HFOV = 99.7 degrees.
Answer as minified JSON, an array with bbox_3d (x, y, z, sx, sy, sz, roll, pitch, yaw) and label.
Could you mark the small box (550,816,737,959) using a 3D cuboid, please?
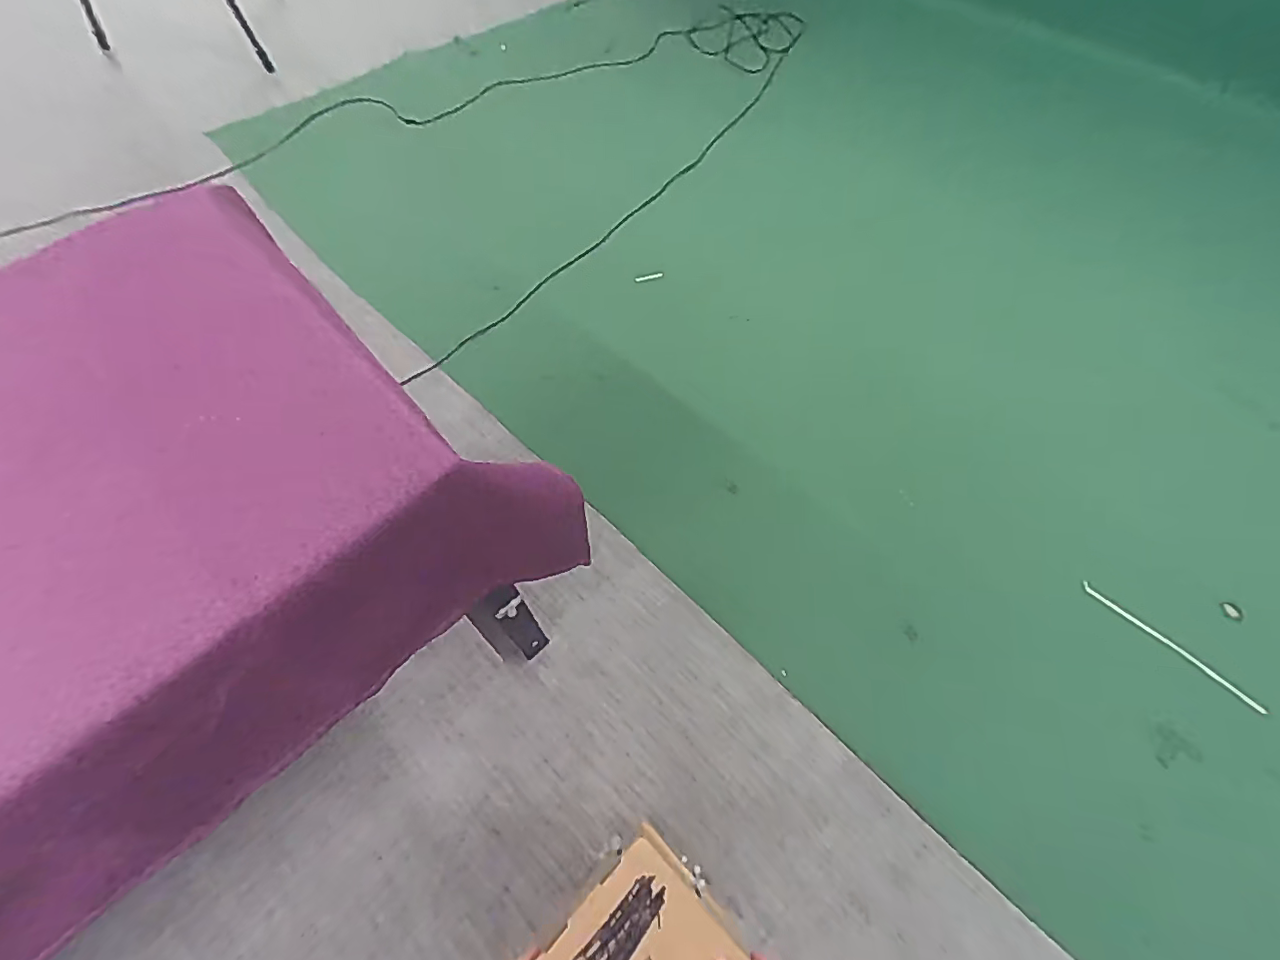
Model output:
[{"bbox_3d":[0.002,0.589,0.736,0.168,0.176,0.179,-39,68,-22],"label":"small box"}]
